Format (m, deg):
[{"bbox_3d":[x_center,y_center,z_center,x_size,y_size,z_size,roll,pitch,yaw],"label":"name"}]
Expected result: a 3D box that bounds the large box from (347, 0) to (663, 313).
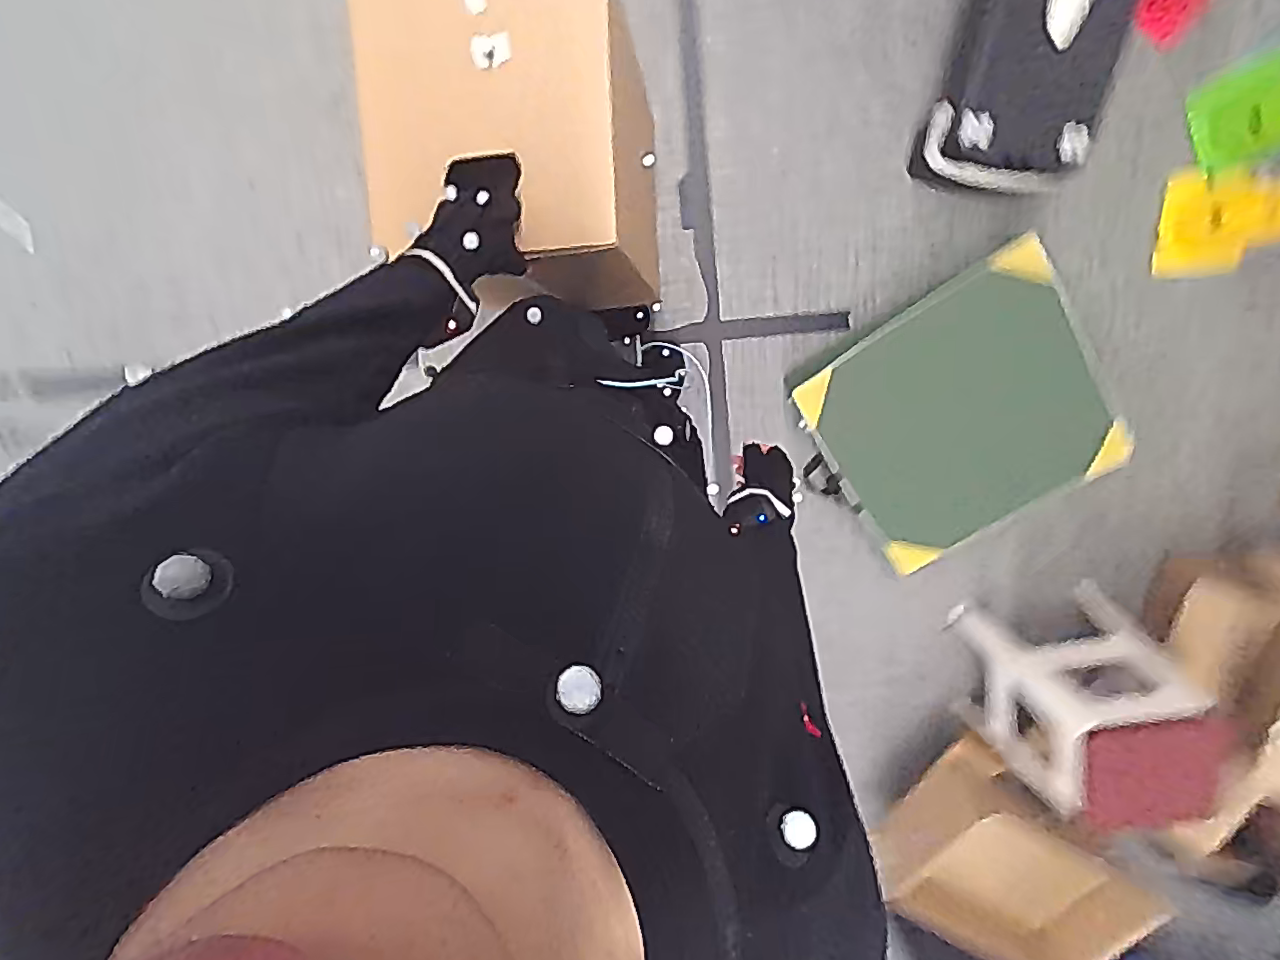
[{"bbox_3d":[-0.156,-0.449,0.823,0.320,0.408,0.320,-1,100,12],"label":"large box"}]
